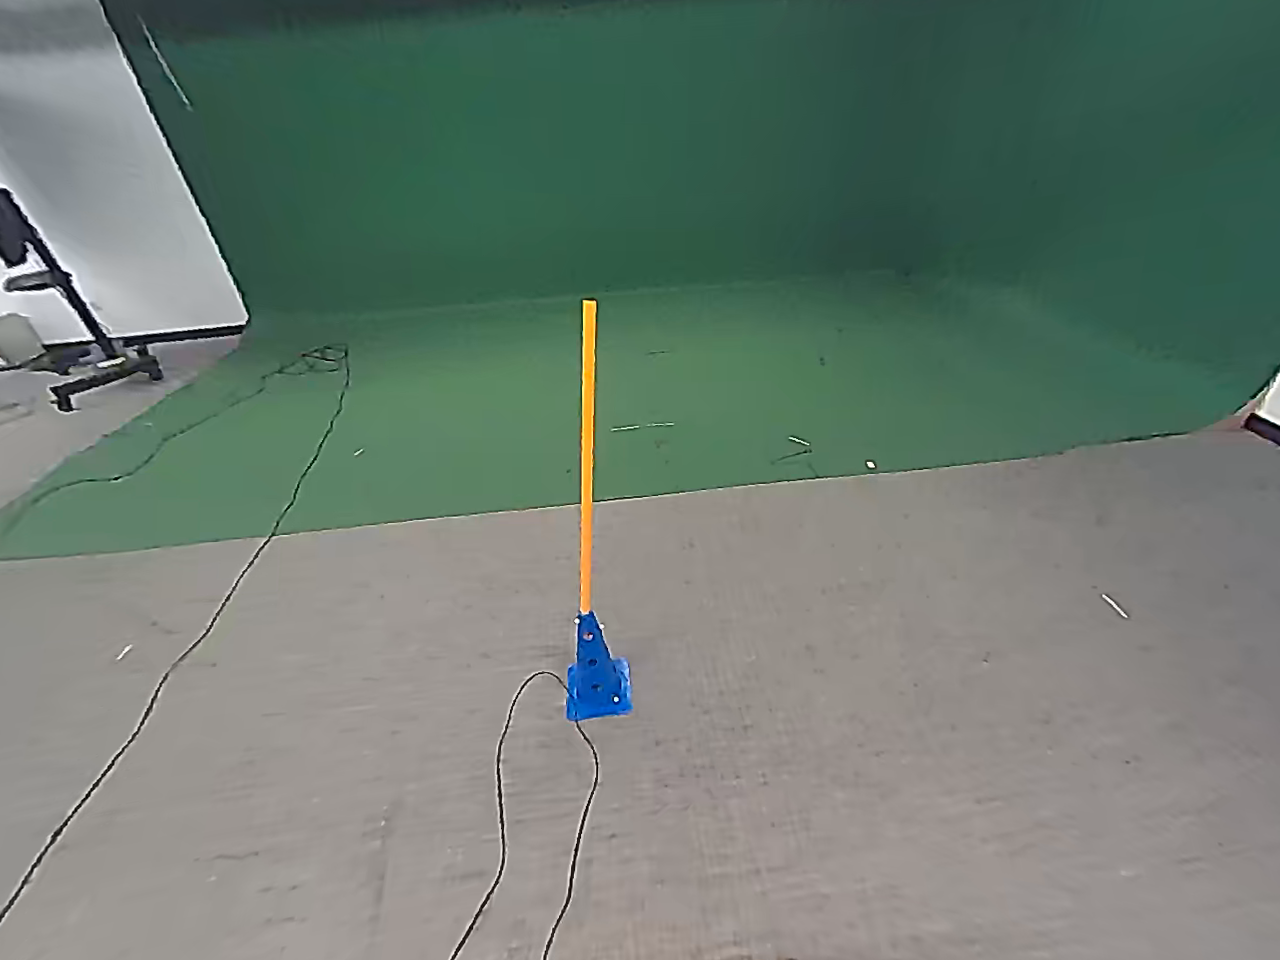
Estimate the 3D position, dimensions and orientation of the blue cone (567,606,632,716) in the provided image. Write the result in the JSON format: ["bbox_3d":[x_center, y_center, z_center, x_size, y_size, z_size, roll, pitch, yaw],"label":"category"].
[{"bbox_3d":[-0.135,0.502,1.582,0.193,0.380,0.192,-6,35,-5],"label":"blue cone"}]
